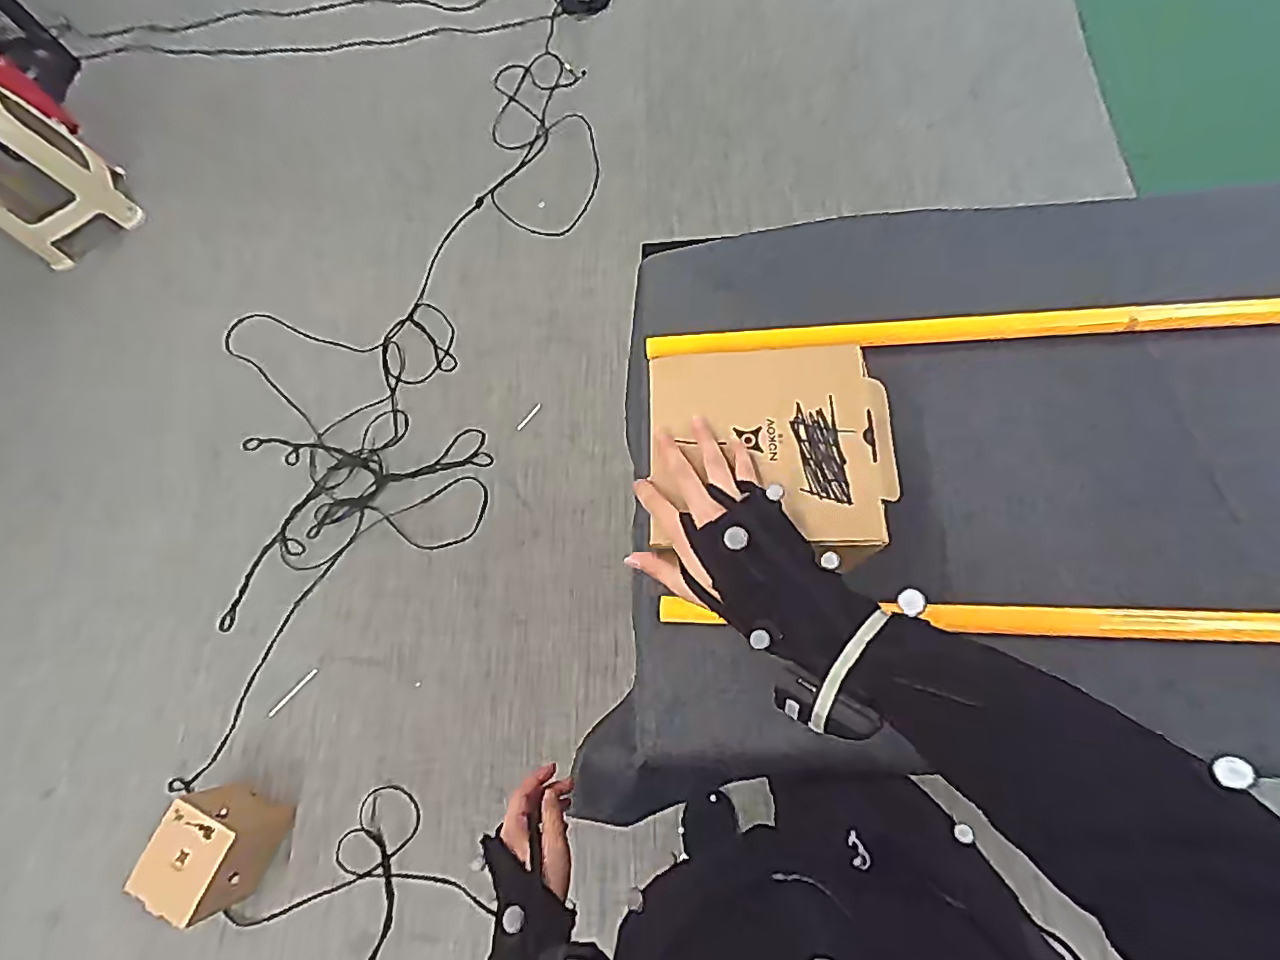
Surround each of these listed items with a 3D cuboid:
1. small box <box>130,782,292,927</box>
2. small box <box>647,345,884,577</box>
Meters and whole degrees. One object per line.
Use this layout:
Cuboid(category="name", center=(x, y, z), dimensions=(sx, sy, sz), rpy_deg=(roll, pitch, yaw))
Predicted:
Cuboid(category="small box", center=(-0.886, 0.771, 1.137), dimensions=(0.168, 0.176, 0.179), rpy_deg=(19, 74, 14))
Cuboid(category="small box", center=(0.103, -0.006, 0.501), dimensions=(0.179, 0.176, 0.168), rpy_deg=(-2, 71, 8))
